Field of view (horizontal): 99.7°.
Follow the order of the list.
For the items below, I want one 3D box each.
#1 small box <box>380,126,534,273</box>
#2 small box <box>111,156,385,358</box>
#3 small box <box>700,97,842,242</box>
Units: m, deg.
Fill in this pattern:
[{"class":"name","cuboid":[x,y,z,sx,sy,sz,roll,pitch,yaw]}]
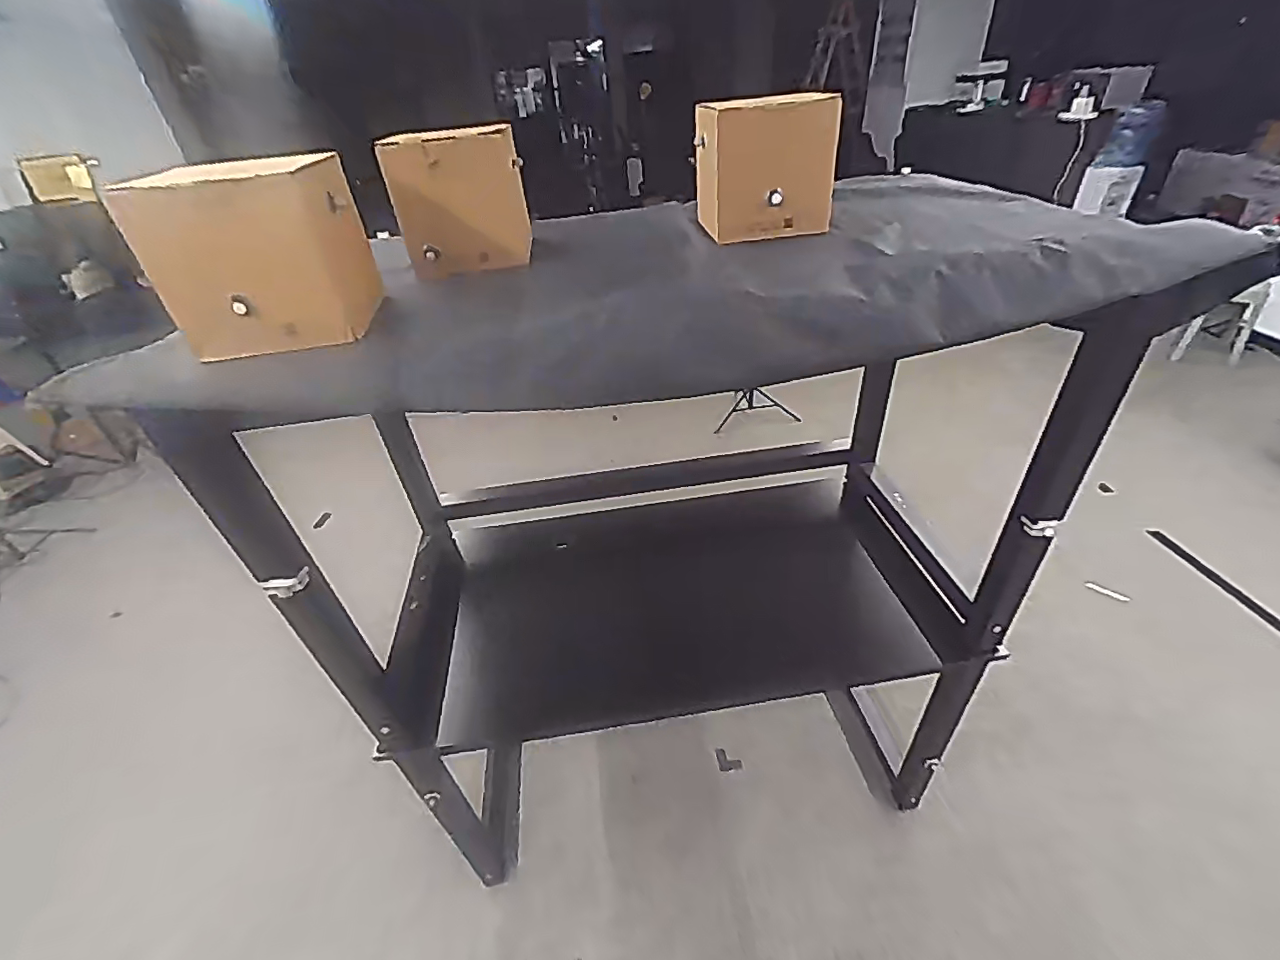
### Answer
[{"class":"small box","cuboid":[-0.257,-0.417,0.810,0.168,0.176,0.179,-8,36,-3]},{"class":"small box","cuboid":[-0.405,-0.252,0.605,0.168,0.176,0.179,-10,37,-6]},{"class":"small box","cuboid":[0.184,-0.470,0.819,0.168,0.176,0.179,-7,37,-1]}]
